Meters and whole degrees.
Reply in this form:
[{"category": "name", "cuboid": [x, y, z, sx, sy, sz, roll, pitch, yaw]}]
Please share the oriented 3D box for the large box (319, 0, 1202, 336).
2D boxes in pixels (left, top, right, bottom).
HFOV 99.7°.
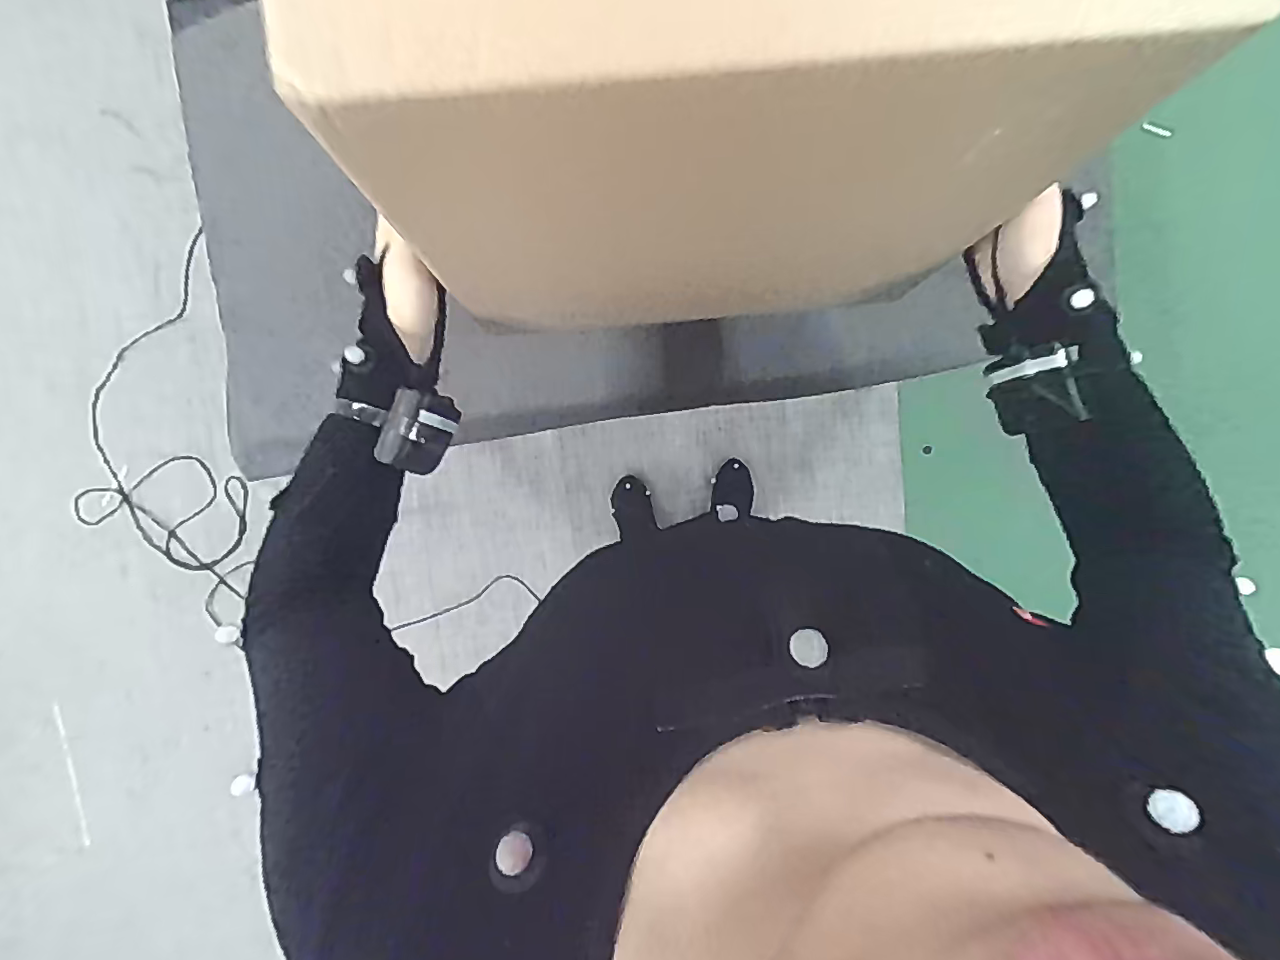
[{"category": "large box", "cuboid": [0.038, -0.321, 0.396, 0.408, 0.320, 0.320, -6, 88, -2]}]
